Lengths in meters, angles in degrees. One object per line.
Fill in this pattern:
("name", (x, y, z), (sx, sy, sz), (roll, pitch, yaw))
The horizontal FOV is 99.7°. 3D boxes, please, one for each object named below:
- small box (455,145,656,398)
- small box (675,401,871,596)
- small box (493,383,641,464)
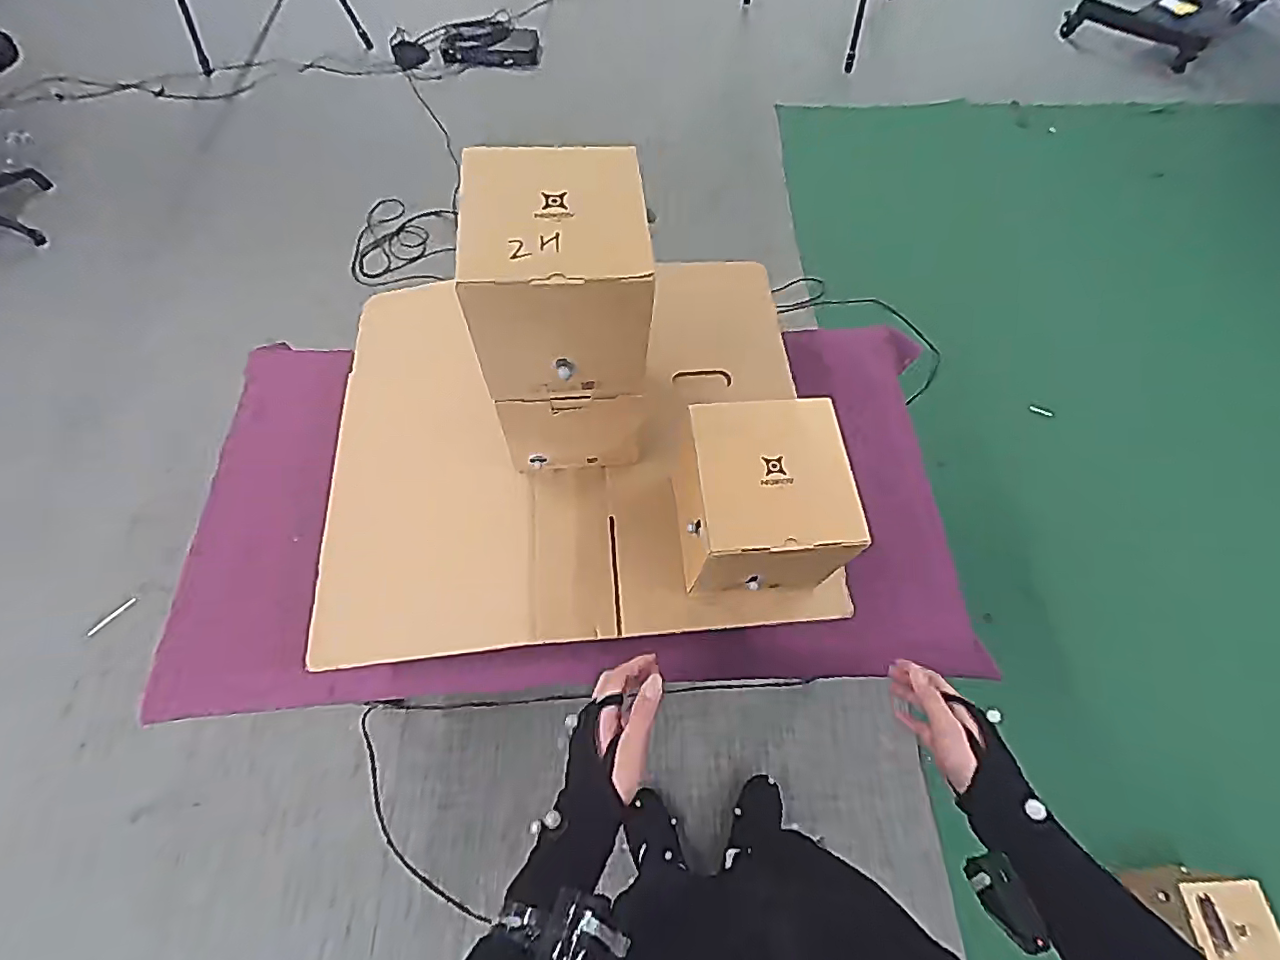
("small box", (-0.080, -0.203, 0.547), (0.168, 0.176, 0.179), (-3, 65, -5))
("small box", (0.137, 0.027, 0.634), (0.168, 0.176, 0.179), (-3, 65, -5))
("small box", (-0.088, -0.128, 0.693), (0.168, 0.176, 0.179), (-3, 64, -6))
